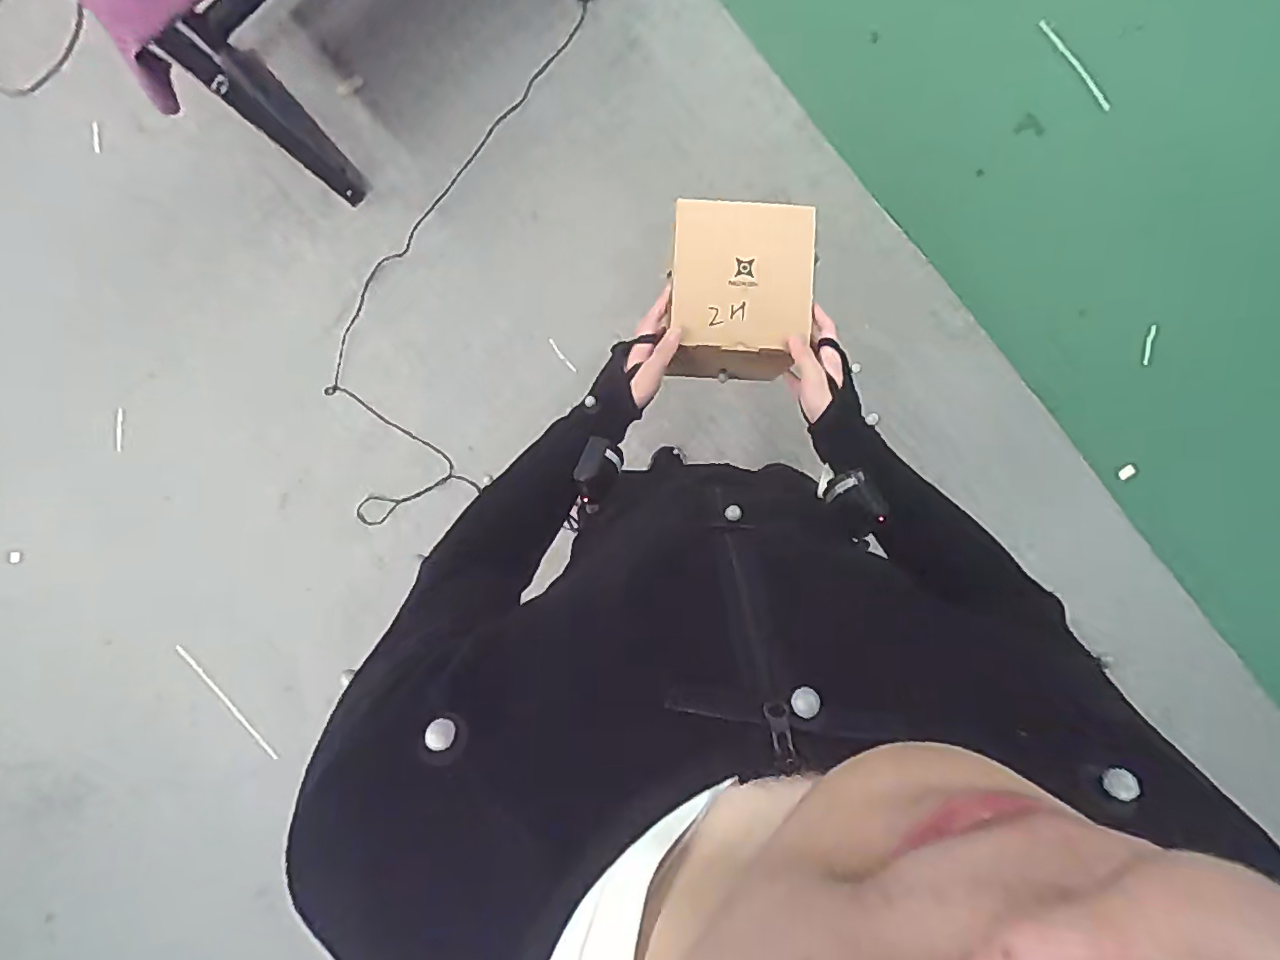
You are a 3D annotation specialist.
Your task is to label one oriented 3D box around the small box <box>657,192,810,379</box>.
[{"bbox_3d":[0.110,-0.240,0.703,0.168,0.176,0.179,3,89,-1],"label":"small box"}]
